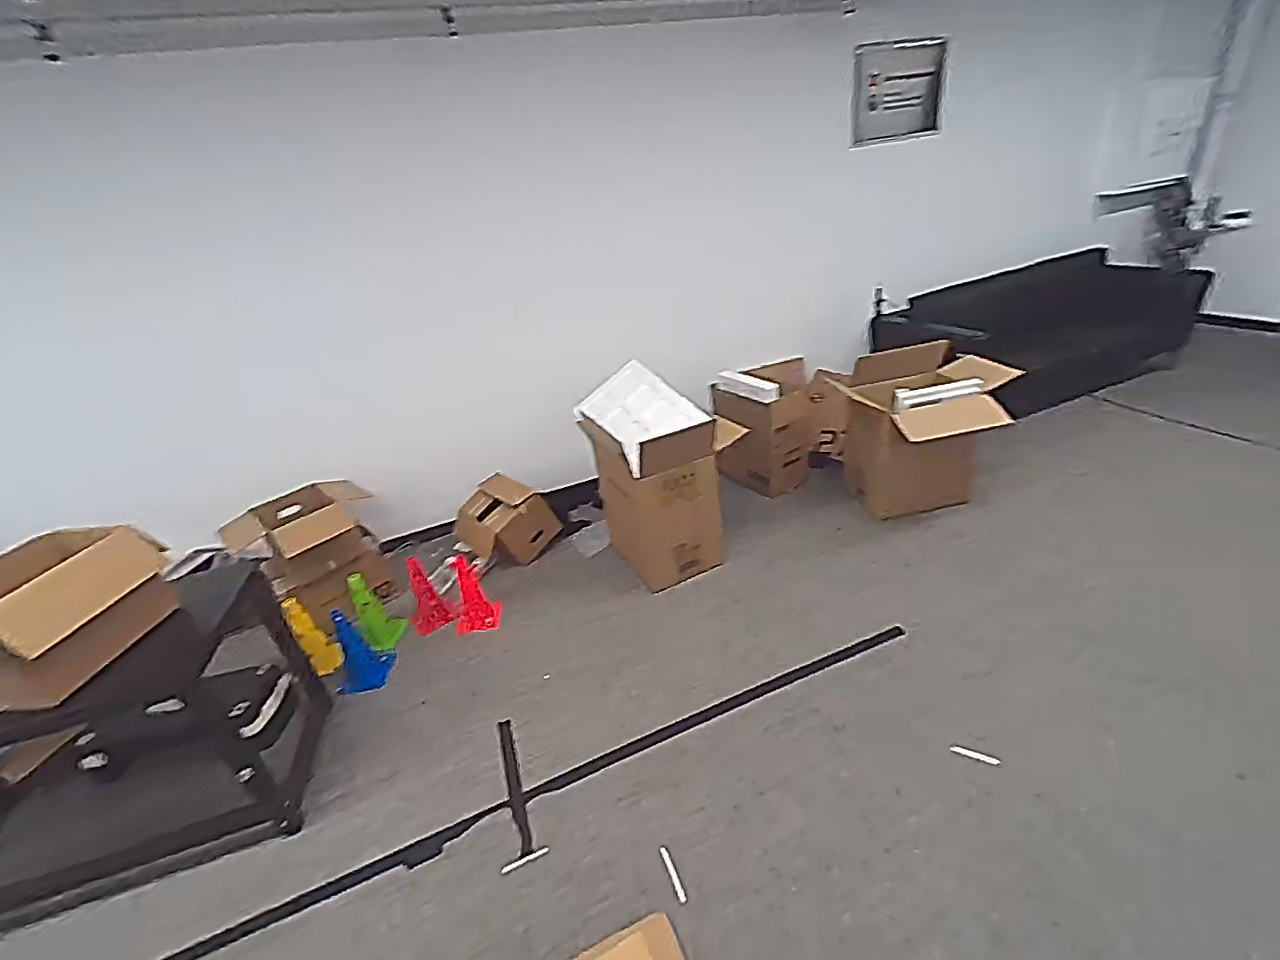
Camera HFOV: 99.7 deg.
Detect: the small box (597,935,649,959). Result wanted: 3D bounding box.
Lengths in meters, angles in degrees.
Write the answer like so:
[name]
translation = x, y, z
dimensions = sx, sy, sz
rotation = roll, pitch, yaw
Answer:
[small box]
translation = -0.030, 1.191, 1.207
dimensions = 0.168, 0.176, 0.179
rotation = -19, 29, -20
